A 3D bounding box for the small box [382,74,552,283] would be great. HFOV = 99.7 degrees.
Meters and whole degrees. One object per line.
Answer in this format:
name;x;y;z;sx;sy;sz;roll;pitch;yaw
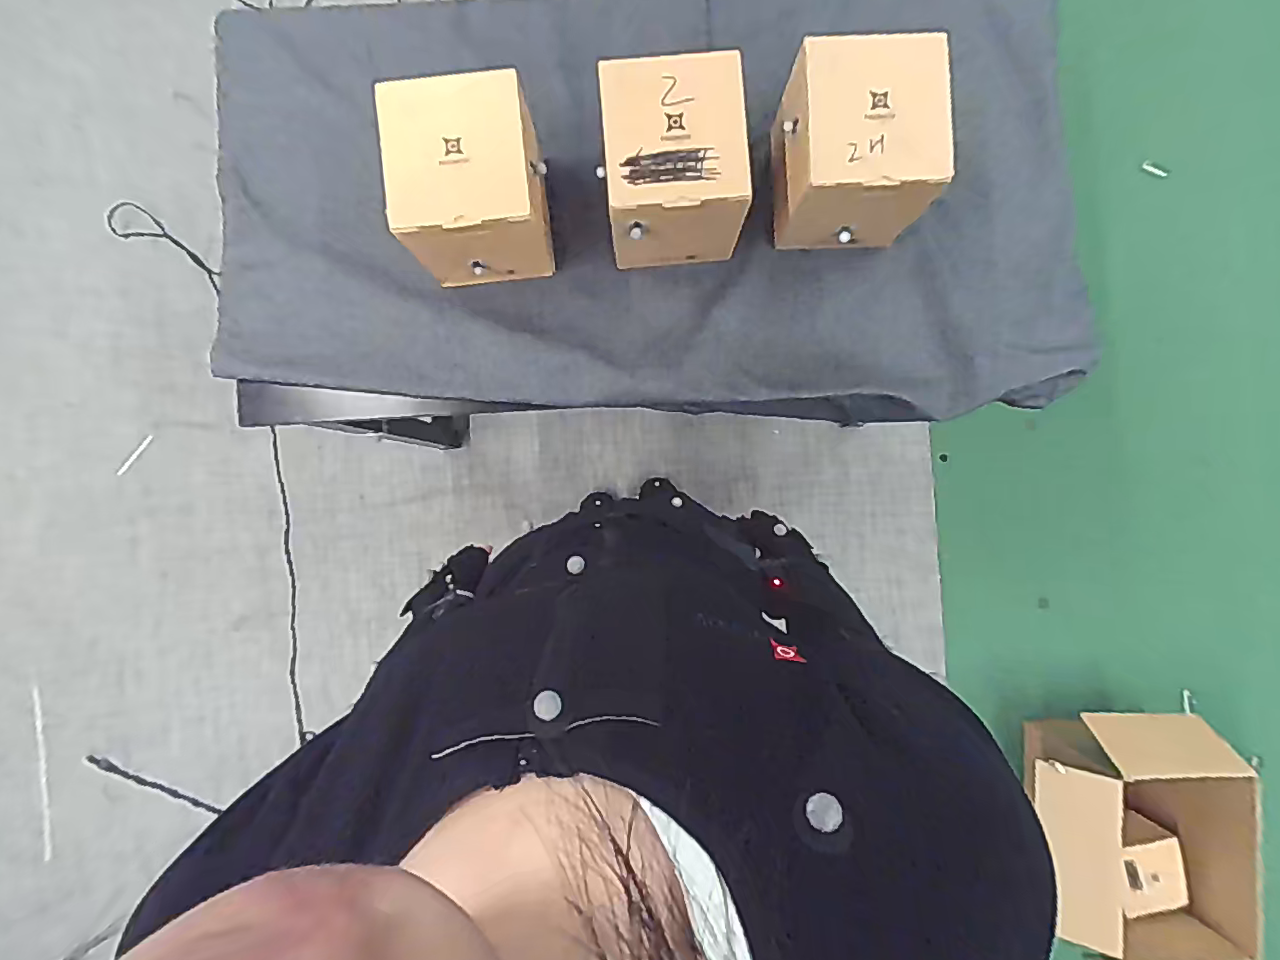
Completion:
small box;-0.214;-0.381;0.709;0.168;0.176;0.179;-6;90;0
